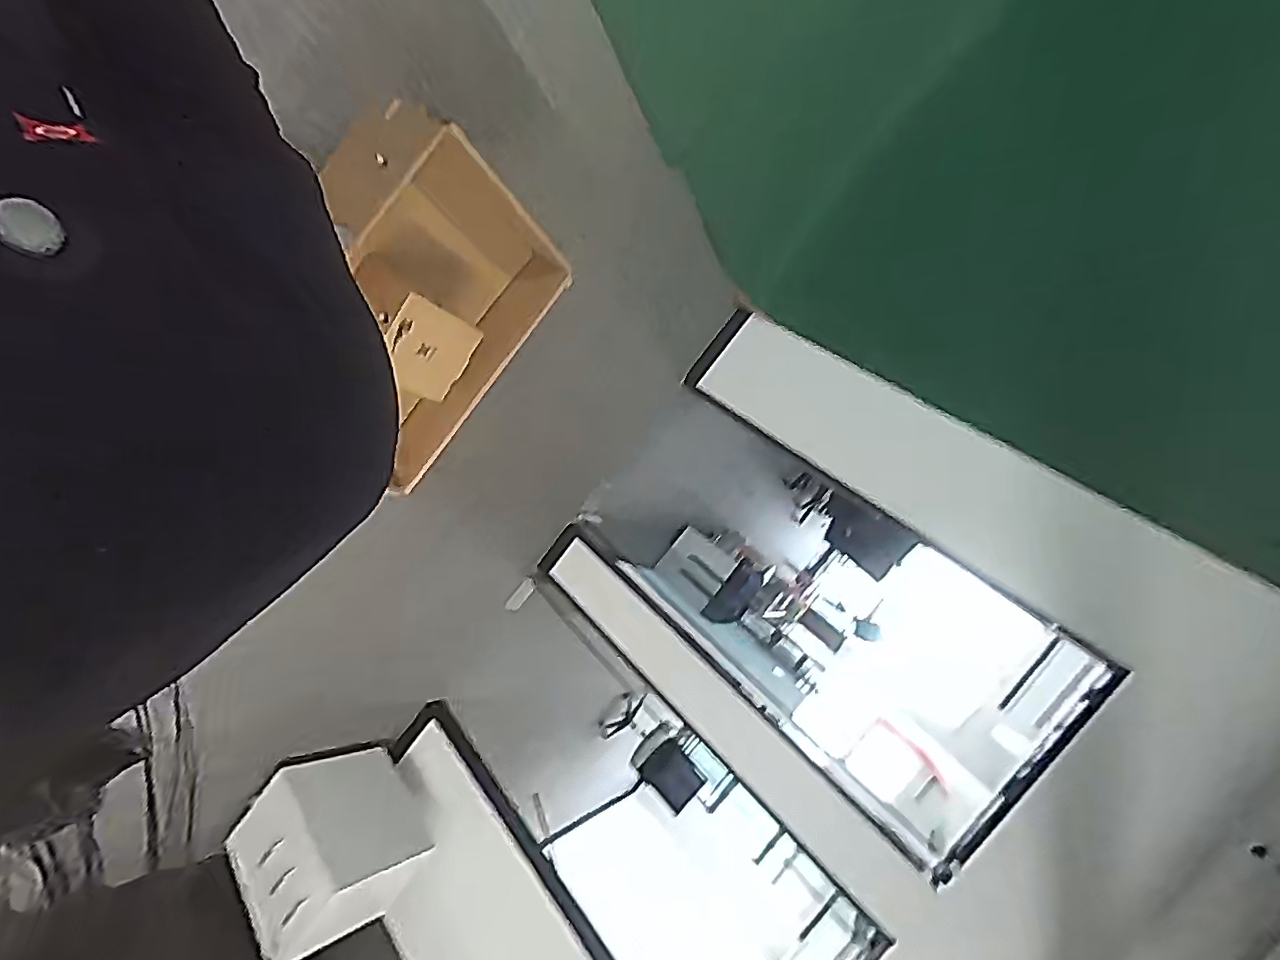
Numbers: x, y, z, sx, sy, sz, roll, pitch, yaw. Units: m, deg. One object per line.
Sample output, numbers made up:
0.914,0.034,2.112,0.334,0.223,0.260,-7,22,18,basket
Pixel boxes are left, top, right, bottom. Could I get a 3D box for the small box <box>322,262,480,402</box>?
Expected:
-0.445,-0.275,1.011,0.168,0.176,0.179,-57,153,7,small box
